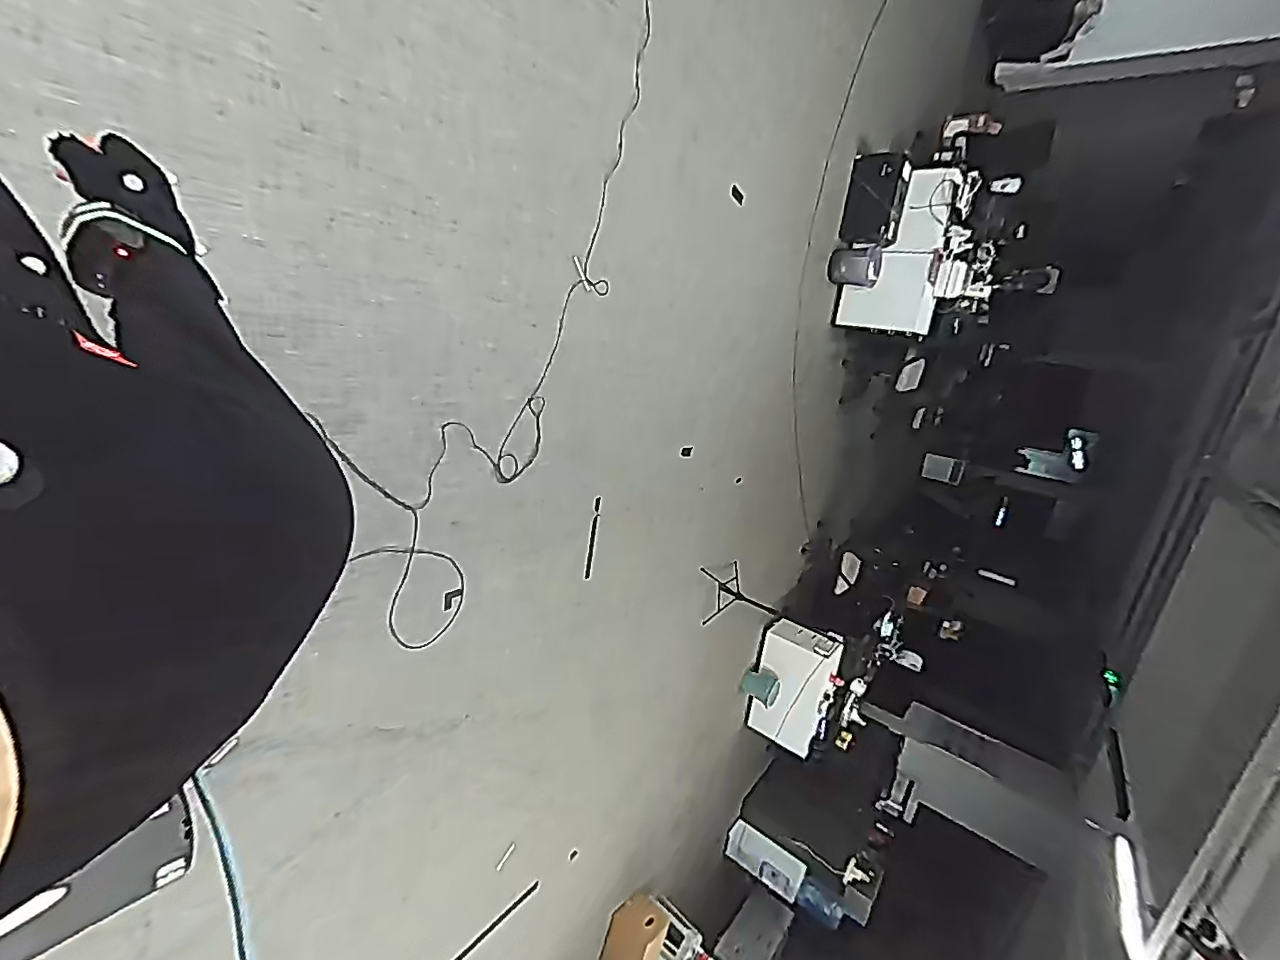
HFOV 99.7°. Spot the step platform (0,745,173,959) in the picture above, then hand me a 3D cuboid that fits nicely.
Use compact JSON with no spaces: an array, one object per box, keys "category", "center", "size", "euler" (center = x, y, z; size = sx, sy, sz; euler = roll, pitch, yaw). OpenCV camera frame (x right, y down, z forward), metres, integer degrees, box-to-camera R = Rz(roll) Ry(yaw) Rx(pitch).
[{"category":"step platform","center":[-1.345,0.829,1.034],"size":[0.684,0.204,0.286],"euler":[-14,117,-50]}]
